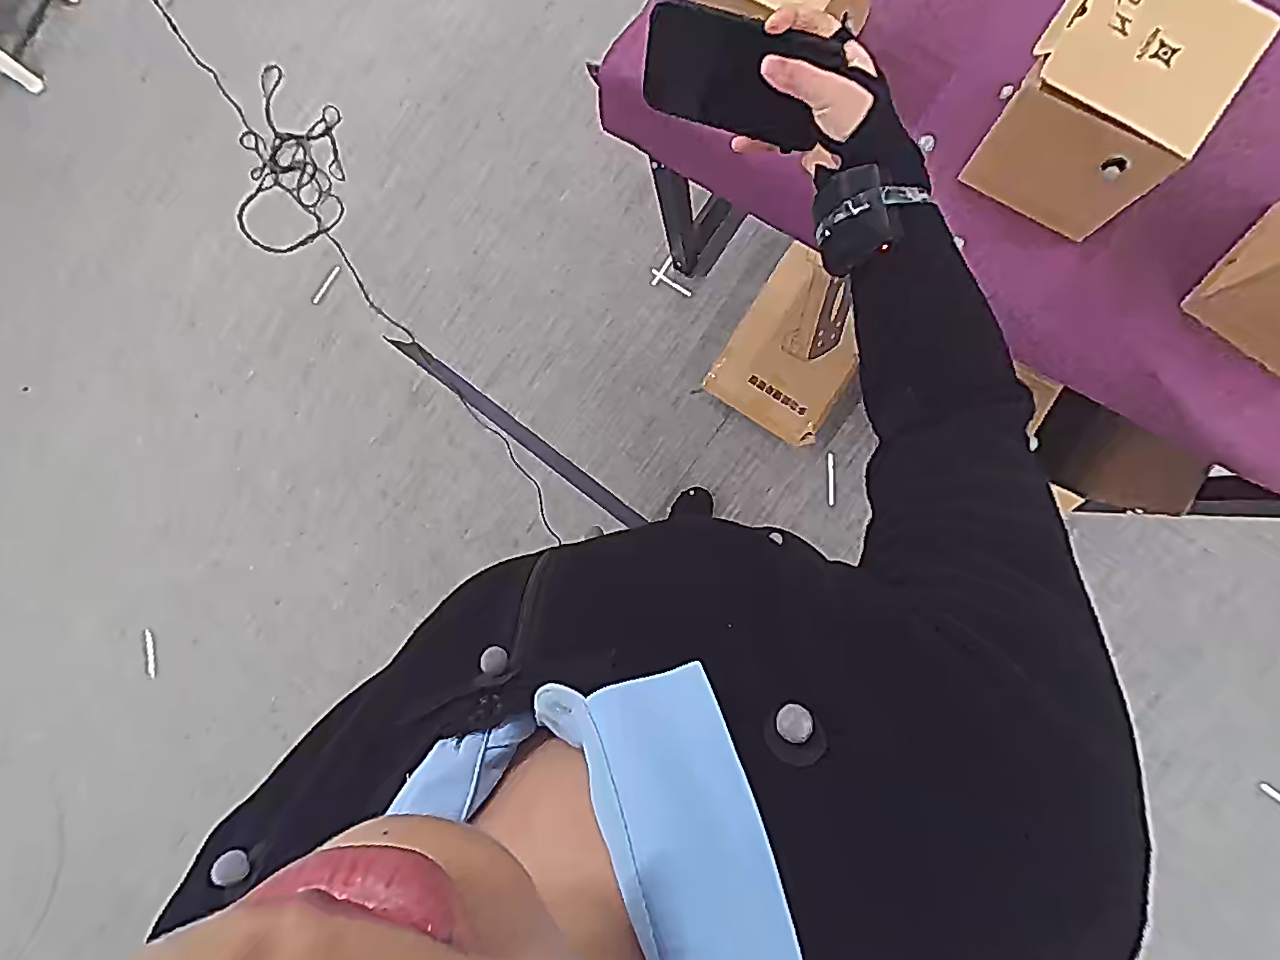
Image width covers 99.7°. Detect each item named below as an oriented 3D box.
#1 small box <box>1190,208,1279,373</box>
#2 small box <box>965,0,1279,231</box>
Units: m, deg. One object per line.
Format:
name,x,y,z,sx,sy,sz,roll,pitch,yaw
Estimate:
small box,0.774,-0.226,0.576,0.179,0.176,0.168,41,94,8
small box,0.527,-0.422,0.621,0.179,0.176,0.168,34,91,9
